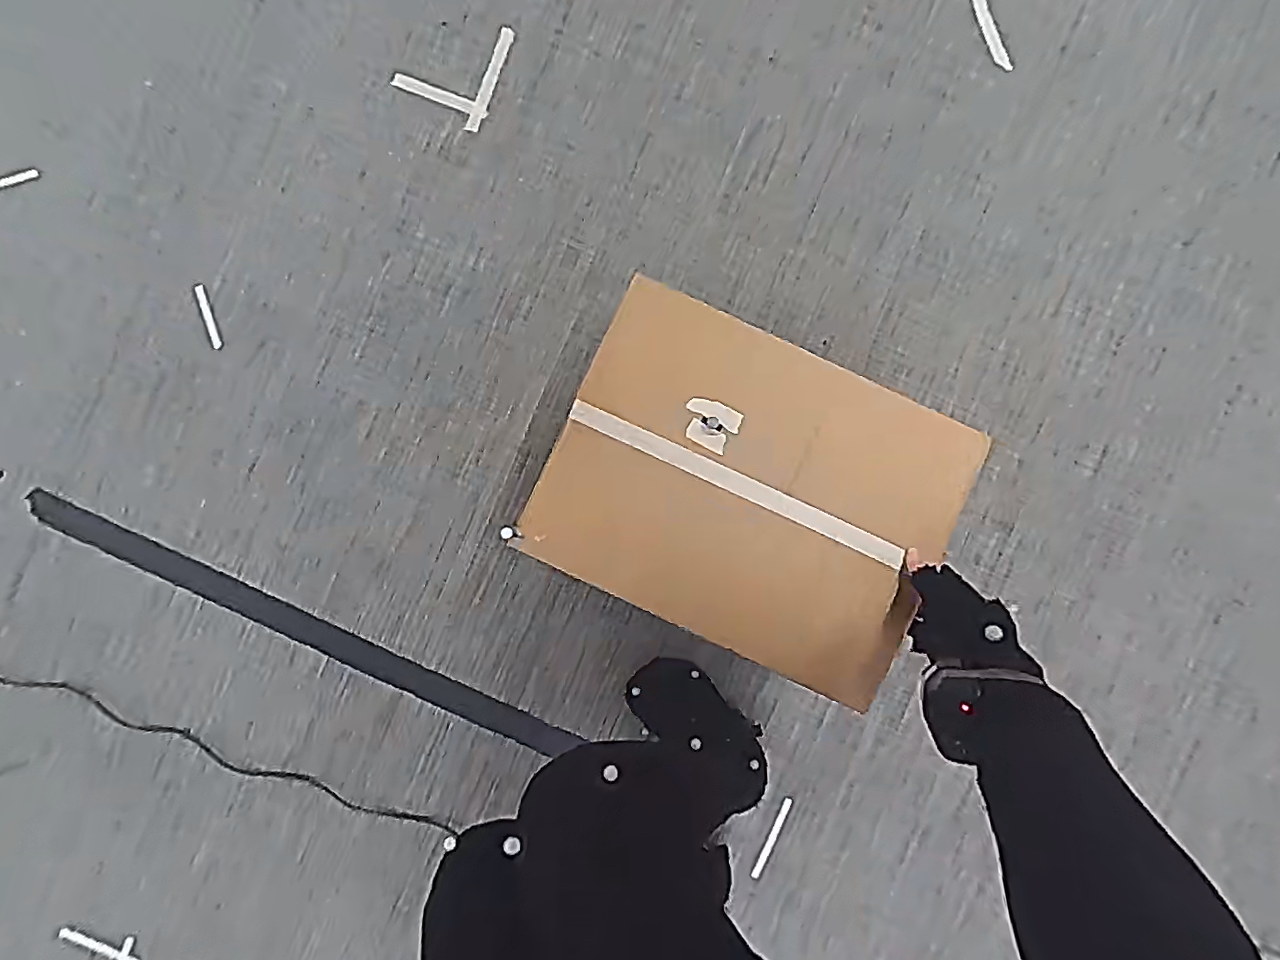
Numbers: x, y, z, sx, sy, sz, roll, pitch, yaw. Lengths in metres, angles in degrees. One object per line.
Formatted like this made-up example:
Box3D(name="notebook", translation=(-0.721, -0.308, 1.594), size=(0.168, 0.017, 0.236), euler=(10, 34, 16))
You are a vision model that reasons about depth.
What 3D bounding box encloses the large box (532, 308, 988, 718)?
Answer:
Box3D(name="large box", translation=(0.131, 0.036, 0.721), size=(0.408, 0.320, 0.320), euler=(26, 88, 2))
